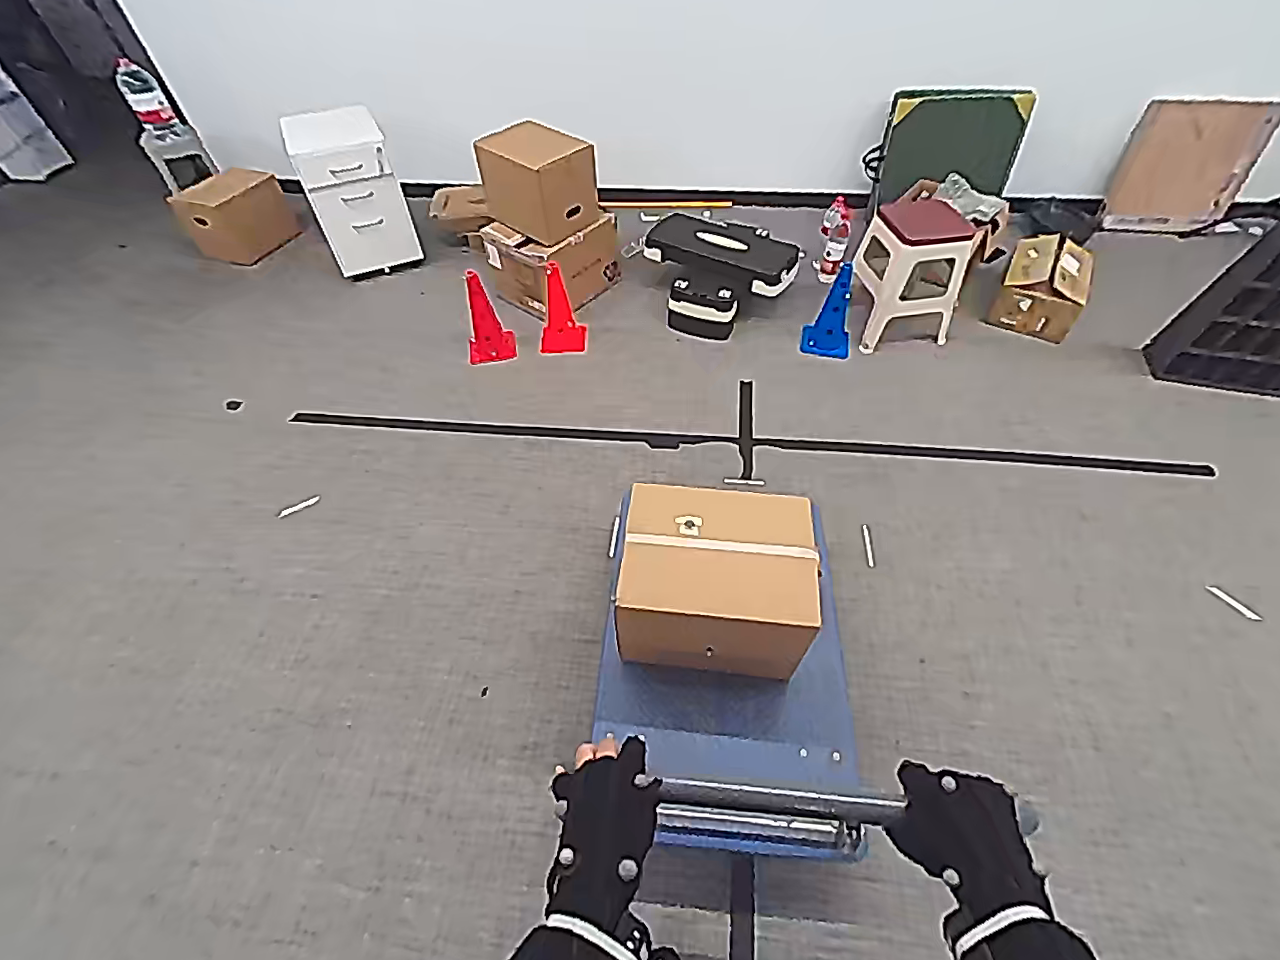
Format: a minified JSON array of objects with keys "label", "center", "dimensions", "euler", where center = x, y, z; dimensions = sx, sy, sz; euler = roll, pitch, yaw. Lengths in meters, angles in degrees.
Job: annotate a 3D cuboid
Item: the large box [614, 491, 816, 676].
[{"label":"large box","center":[0.167,0.248,1.272],"dimensions":[0.408,0.320,0.320],"euler":[4,52,6]}]
